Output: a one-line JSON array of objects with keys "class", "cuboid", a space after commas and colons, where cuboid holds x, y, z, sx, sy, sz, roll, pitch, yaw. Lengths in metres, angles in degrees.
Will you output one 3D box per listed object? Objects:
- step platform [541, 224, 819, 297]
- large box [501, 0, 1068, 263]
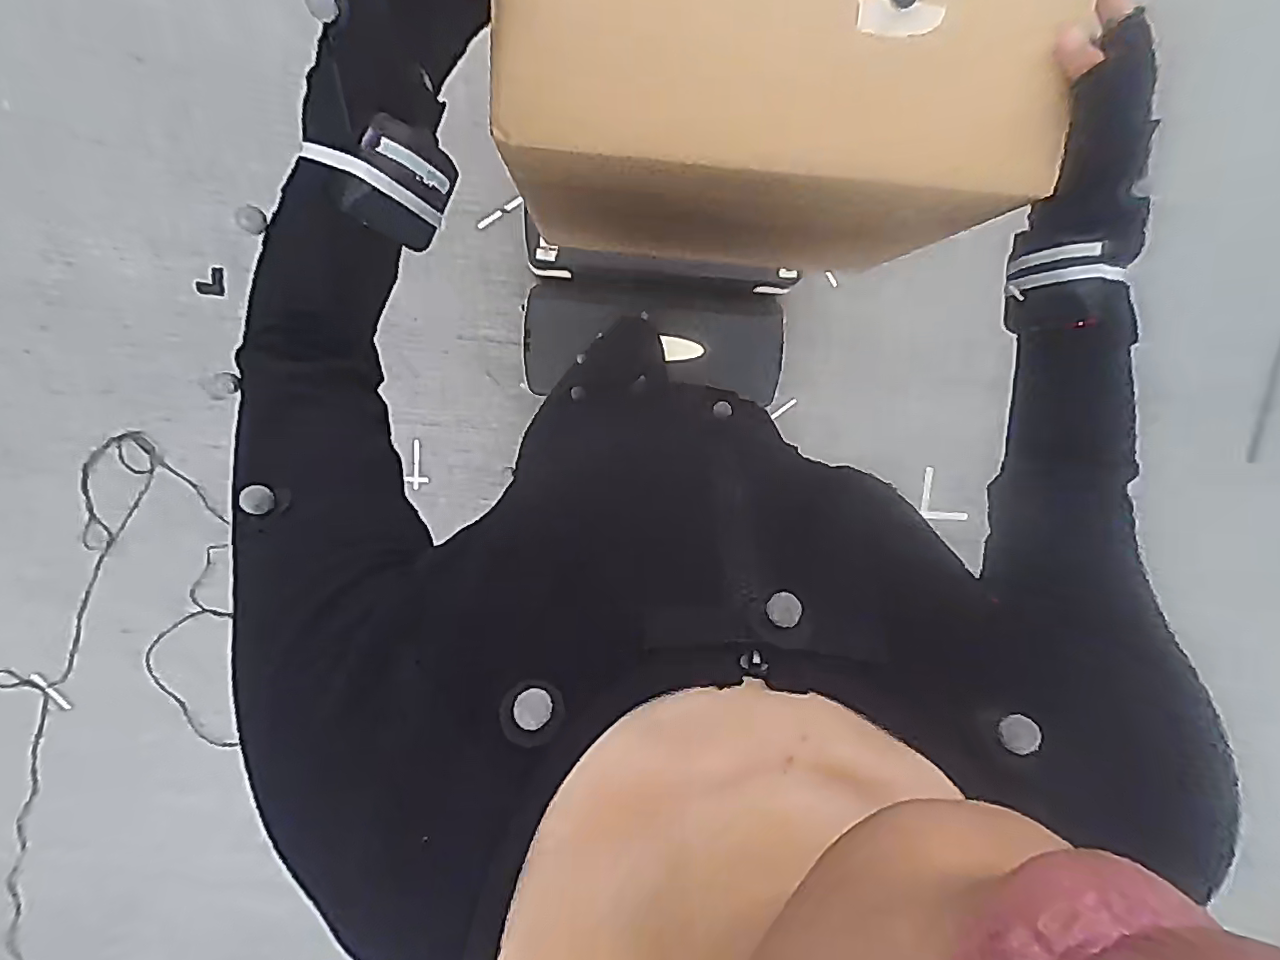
[{"class": "step platform", "cuboid": [0.102, -0.628, 1.328, 0.684, 0.204, 0.286, 2, 101, -5]}, {"class": "large box", "cuboid": [0.097, -0.409, 0.511, 0.408, 0.320, 0.320, 3, 101, -5]}]
